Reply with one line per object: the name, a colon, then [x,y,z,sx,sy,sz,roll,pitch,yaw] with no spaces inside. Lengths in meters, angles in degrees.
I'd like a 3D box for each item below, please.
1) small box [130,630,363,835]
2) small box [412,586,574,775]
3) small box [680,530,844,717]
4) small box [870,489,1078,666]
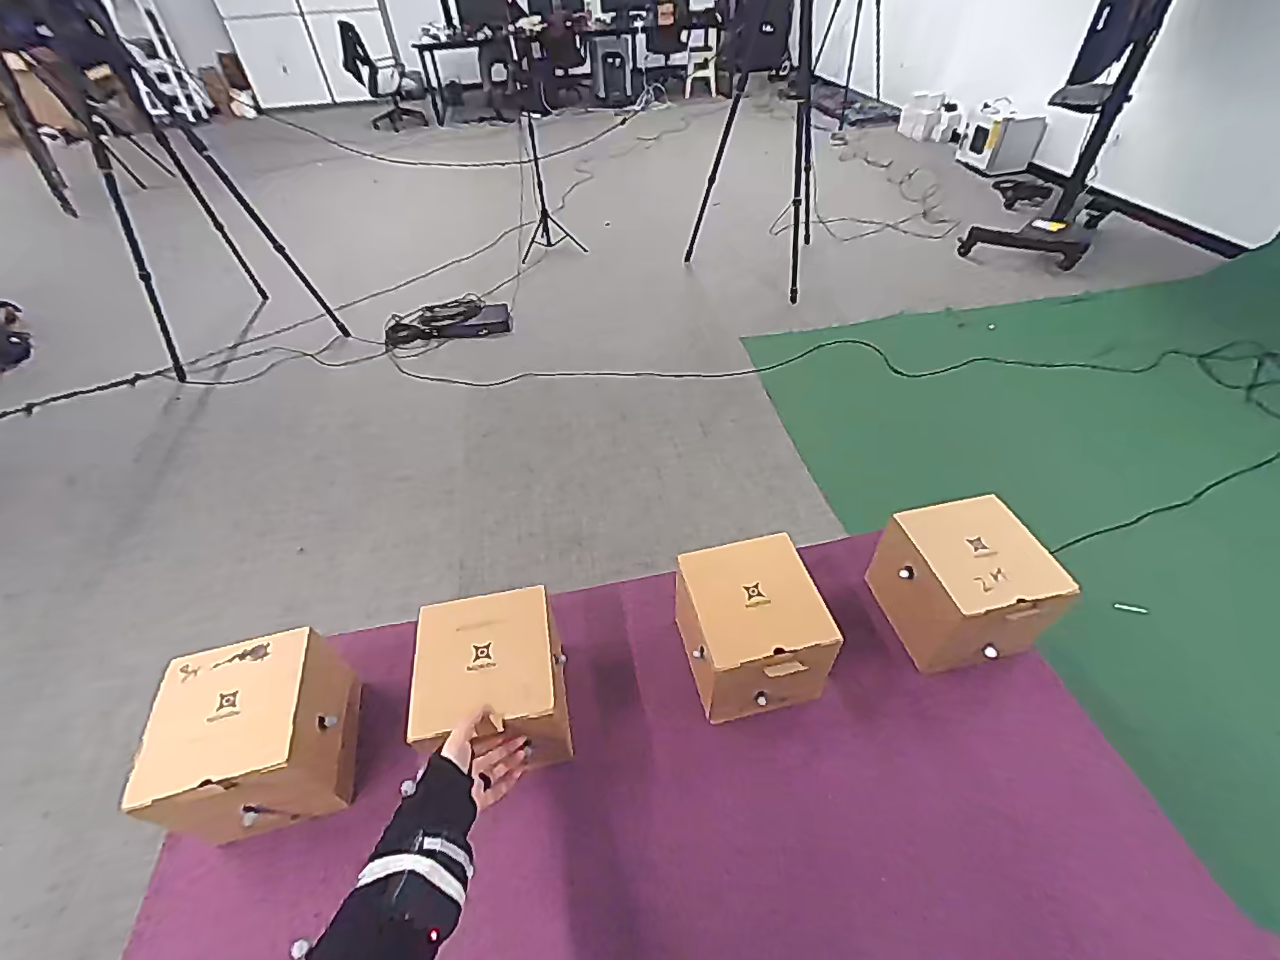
small box: [-0.472,0.325,0.687,0.168,0.176,0.179,-13,47,-10]
small box: [-0.185,0.271,0.720,0.168,0.176,0.179,-9,46,-6]
small box: [0.155,0.202,0.763,0.168,0.176,0.179,-12,47,-7]
small box: [0.466,0.142,0.792,0.168,0.176,0.179,-11,46,-5]
